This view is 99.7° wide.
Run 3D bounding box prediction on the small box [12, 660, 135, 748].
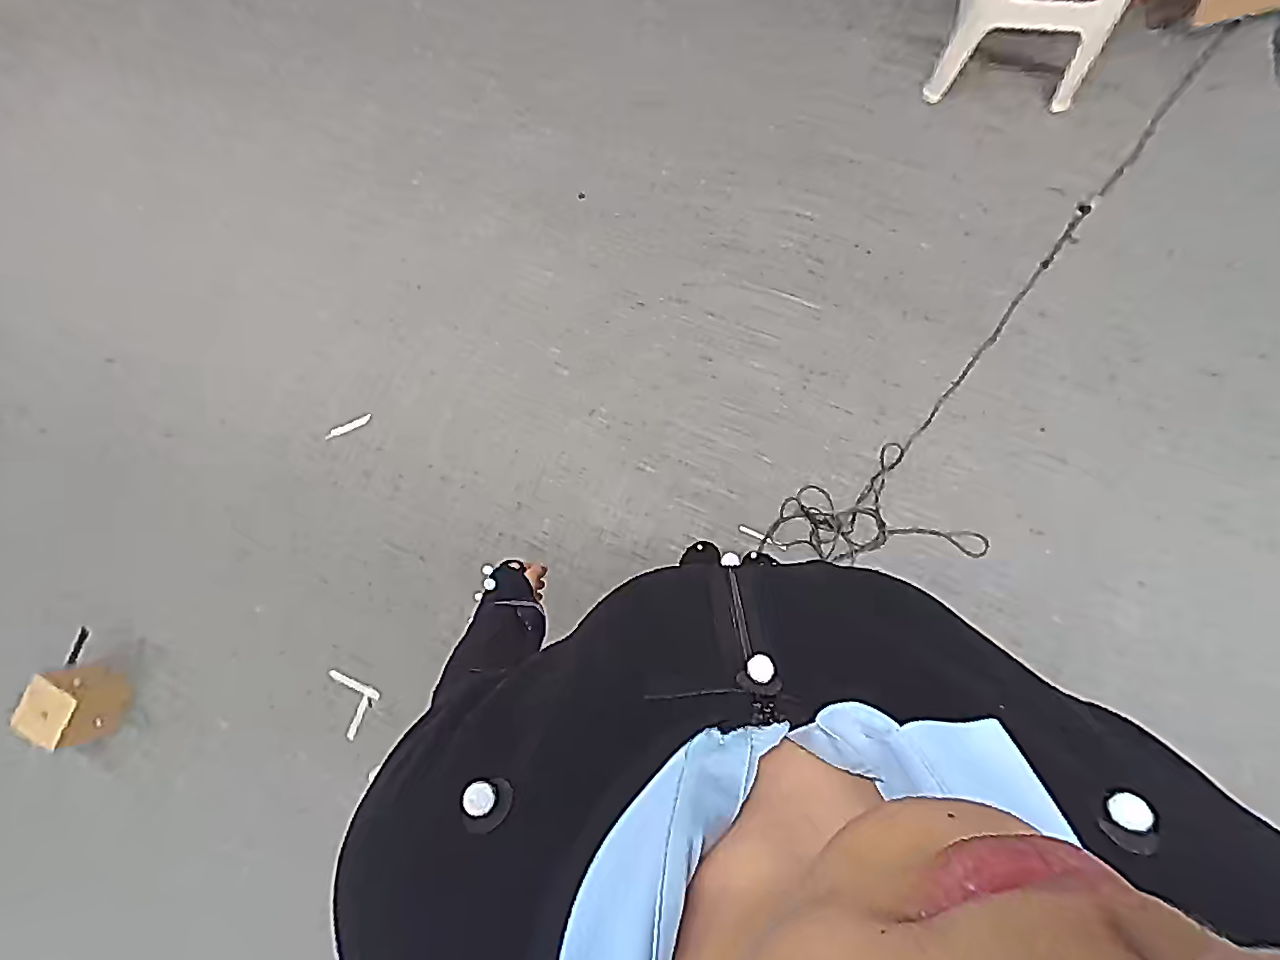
[{"bbox_3d":[-1.706,0.667,1.640,0.179,0.176,0.168,26,87,11],"label":"small box"}]
